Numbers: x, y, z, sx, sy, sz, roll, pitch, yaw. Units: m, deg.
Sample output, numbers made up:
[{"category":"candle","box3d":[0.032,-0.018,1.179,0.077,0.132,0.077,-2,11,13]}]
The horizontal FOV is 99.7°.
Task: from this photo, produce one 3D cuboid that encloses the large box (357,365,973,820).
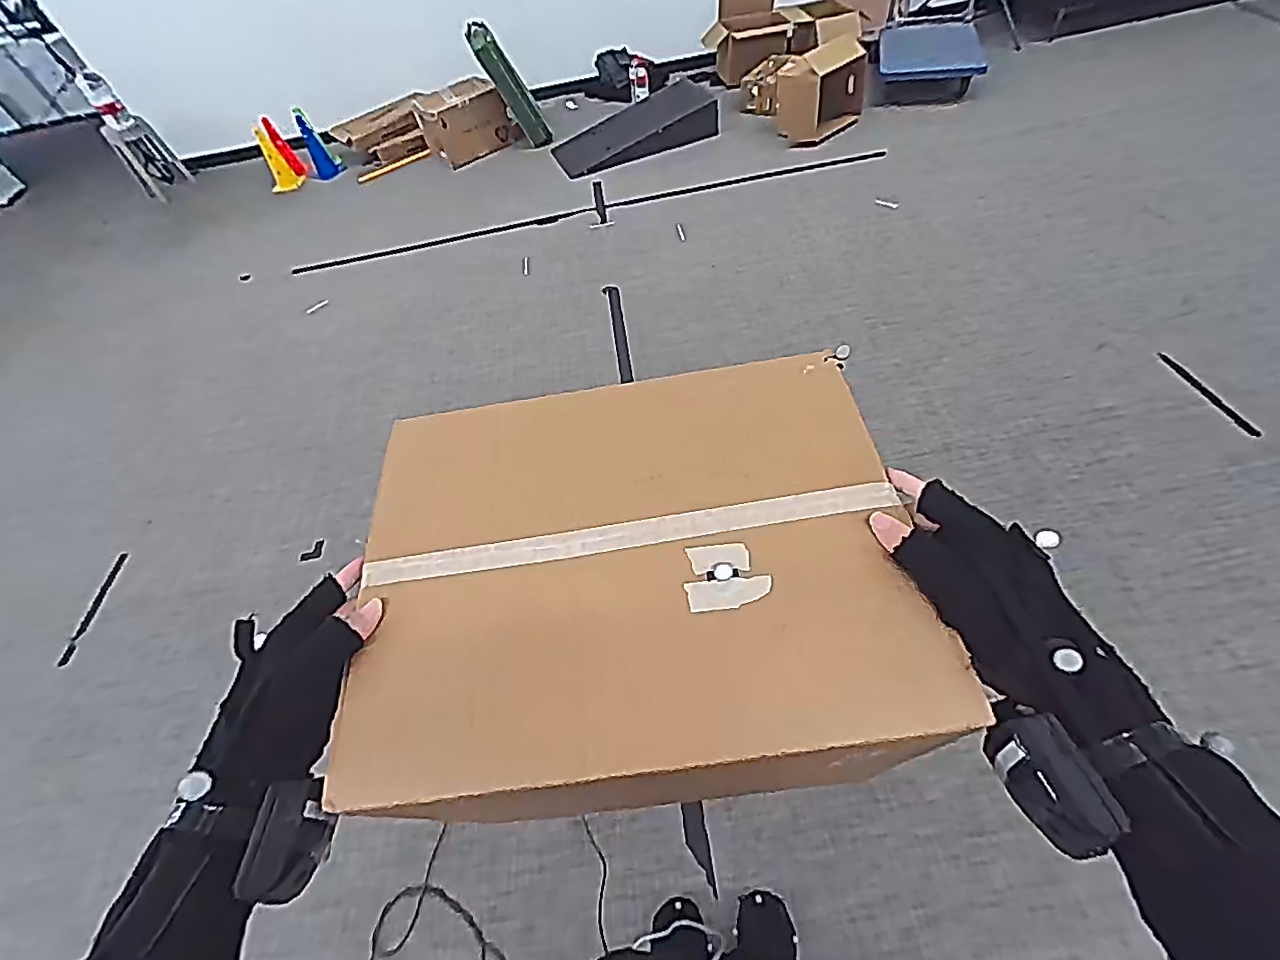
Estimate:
[{"category":"large box","box3d":[0.011,0.130,0.544,0.408,0.320,0.320,-9,56,2]}]
